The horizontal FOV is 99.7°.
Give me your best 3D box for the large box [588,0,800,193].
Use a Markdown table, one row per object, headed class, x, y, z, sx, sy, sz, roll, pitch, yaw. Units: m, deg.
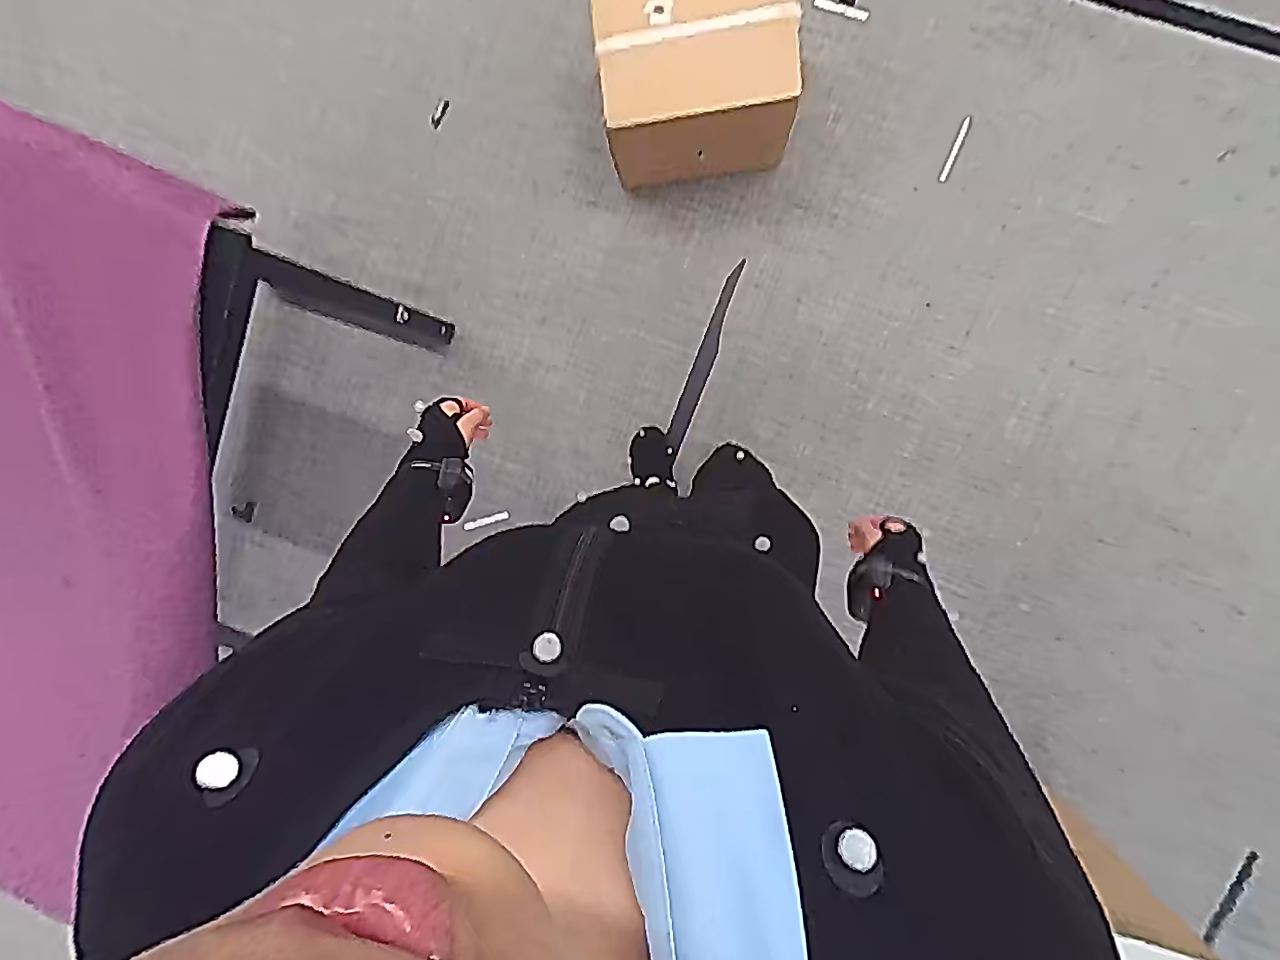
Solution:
| class | x | y | z | sx | sy | sz | roll | pitch | yaw |
| --- | --- | --- | --- | --- | --- | --- | --- | --- | --- |
| large box | 0.123 | -0.905 | 1.233 | 0.408 | 0.320 | 0.320 | -6 | 94 | 7 |
